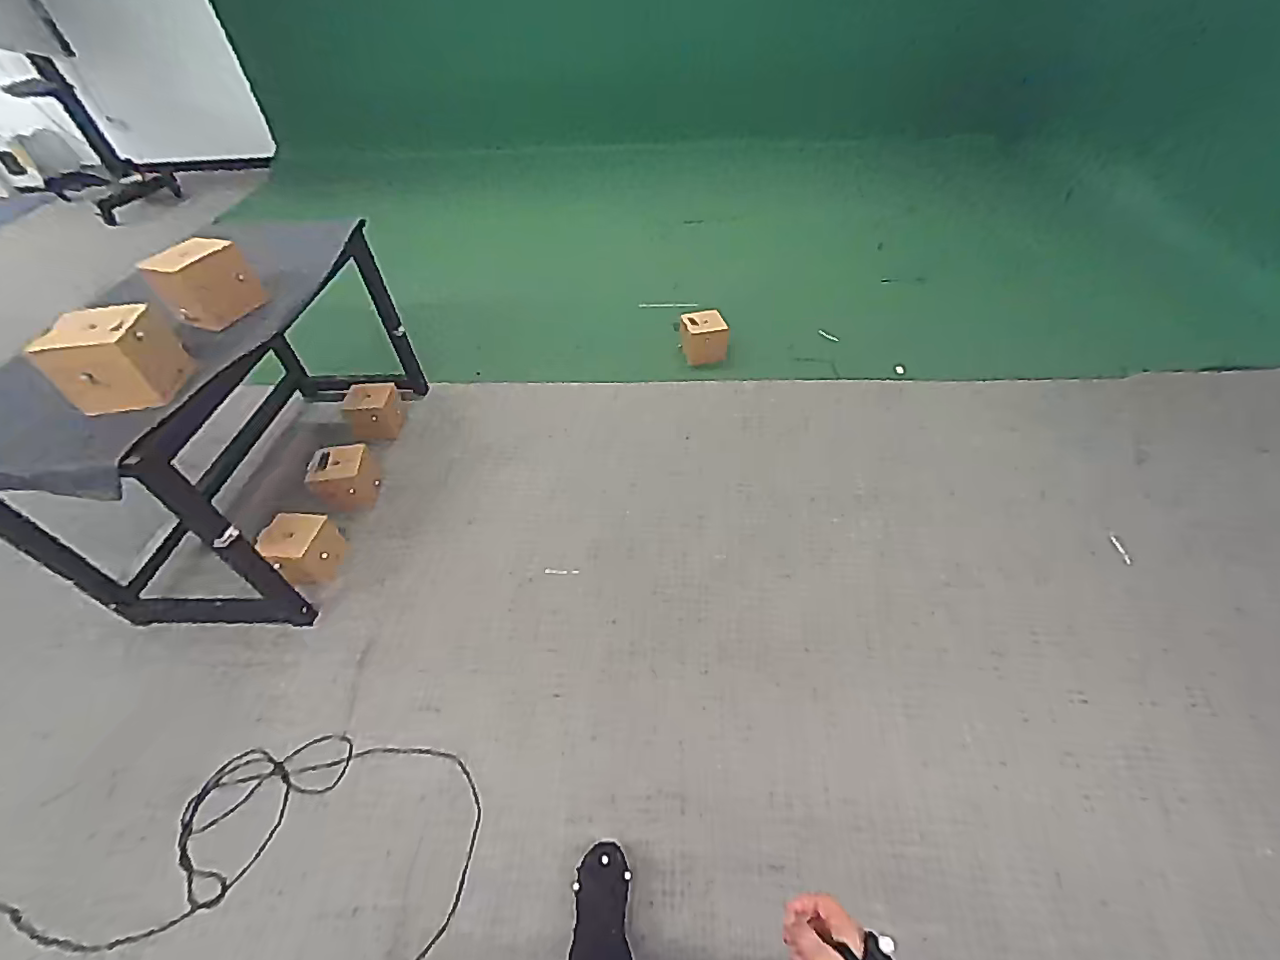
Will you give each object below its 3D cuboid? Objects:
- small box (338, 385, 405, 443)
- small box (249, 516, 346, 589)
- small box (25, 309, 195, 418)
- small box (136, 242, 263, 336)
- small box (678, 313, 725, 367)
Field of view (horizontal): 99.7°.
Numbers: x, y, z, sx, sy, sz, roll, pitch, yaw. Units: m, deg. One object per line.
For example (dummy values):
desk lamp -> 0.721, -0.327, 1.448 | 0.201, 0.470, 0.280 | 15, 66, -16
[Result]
small box -> -1.083, -0.266, 2.200 | 0.179, 0.176, 0.168 | -4, 47, 0
small box -> -1.090, 0.236, 1.742 | 0.179, 0.176, 0.168 | 3, 48, 6
small box -> -1.161, -0.255, 1.204 | 0.179, 0.176, 0.168 | -9, 47, -5
small box -> -1.154, -0.510, 1.440 | 0.168, 0.176, 0.179 | 13, 51, 19
small box -> 0.277, -0.634, 2.457 | 0.179, 0.176, 0.168 | -11, 48, -8
